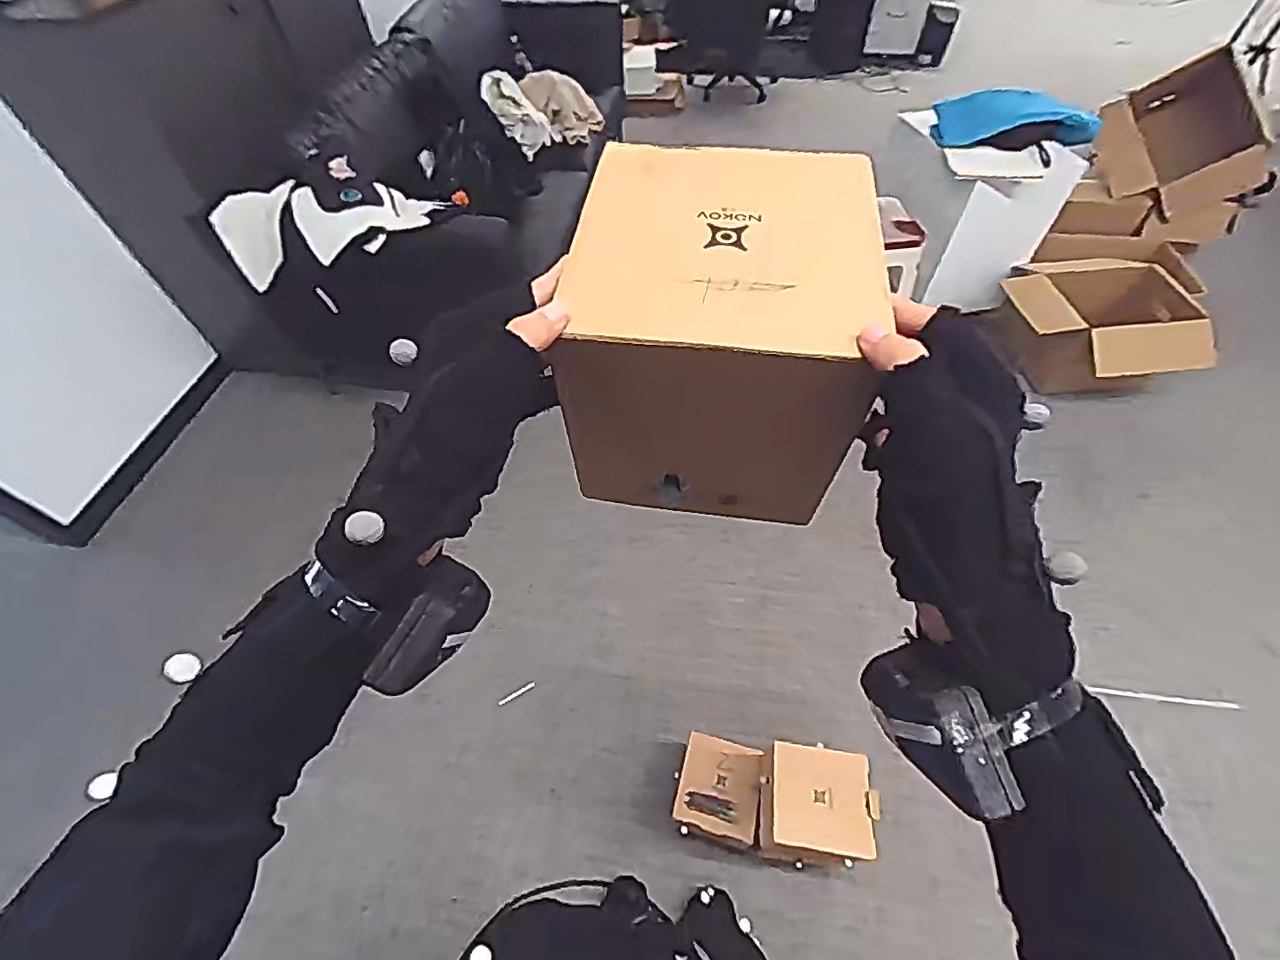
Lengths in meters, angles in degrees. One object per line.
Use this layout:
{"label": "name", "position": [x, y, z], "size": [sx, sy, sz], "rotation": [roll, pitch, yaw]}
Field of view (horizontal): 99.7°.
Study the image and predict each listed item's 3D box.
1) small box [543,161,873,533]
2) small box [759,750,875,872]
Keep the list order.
{"label": "small box", "position": [0.044, -0.086, 0.374], "size": [0.168, 0.176, 0.179], "rotation": [7, 58, 6]}
{"label": "small box", "position": [0.324, 0.632, 1.029], "size": [0.179, 0.176, 0.168], "rotation": [6, 53, 6]}
